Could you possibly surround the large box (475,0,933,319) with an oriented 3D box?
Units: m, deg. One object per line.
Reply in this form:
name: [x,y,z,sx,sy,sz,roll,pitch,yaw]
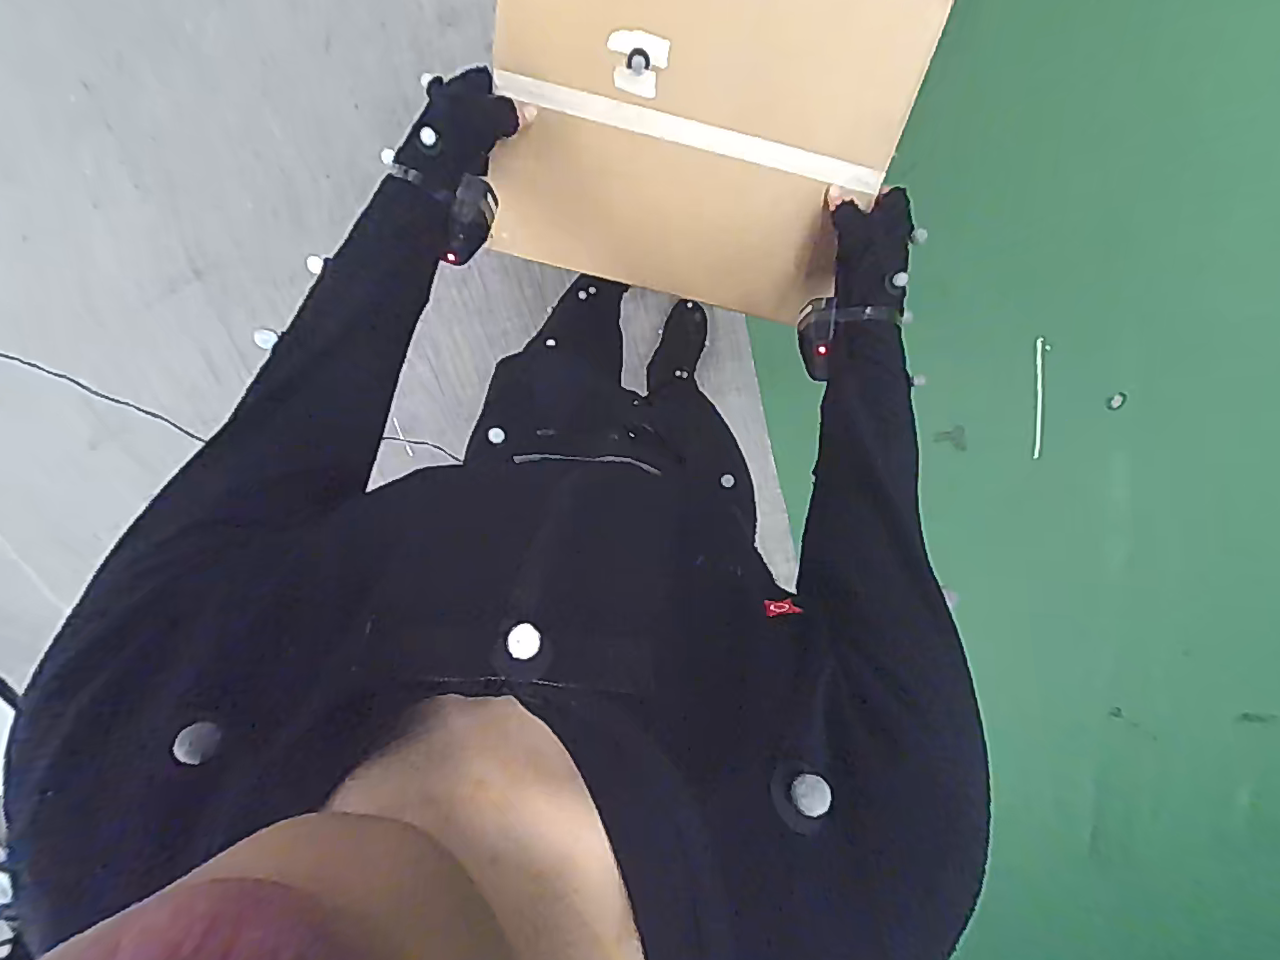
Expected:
large box: [0.050,-0.434,0.670,0.408,0.320,0.320,14,121,-4]
